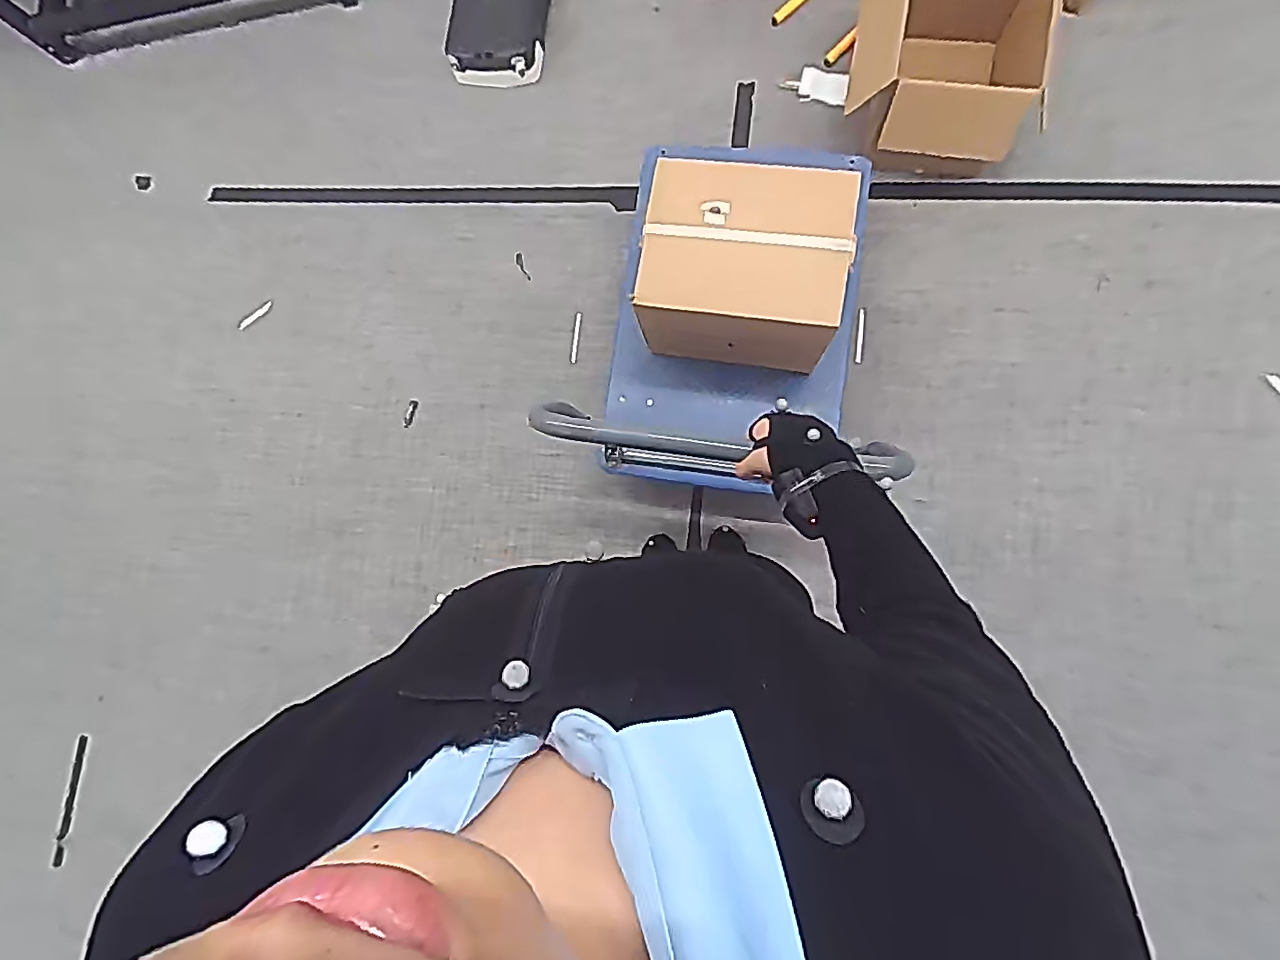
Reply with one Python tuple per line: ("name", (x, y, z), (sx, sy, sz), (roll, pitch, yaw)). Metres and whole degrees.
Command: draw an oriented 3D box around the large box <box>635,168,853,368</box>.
("large box", (0.228, -0.459, 1.223), (0.408, 0.320, 0.320), (8, 85, 9))
